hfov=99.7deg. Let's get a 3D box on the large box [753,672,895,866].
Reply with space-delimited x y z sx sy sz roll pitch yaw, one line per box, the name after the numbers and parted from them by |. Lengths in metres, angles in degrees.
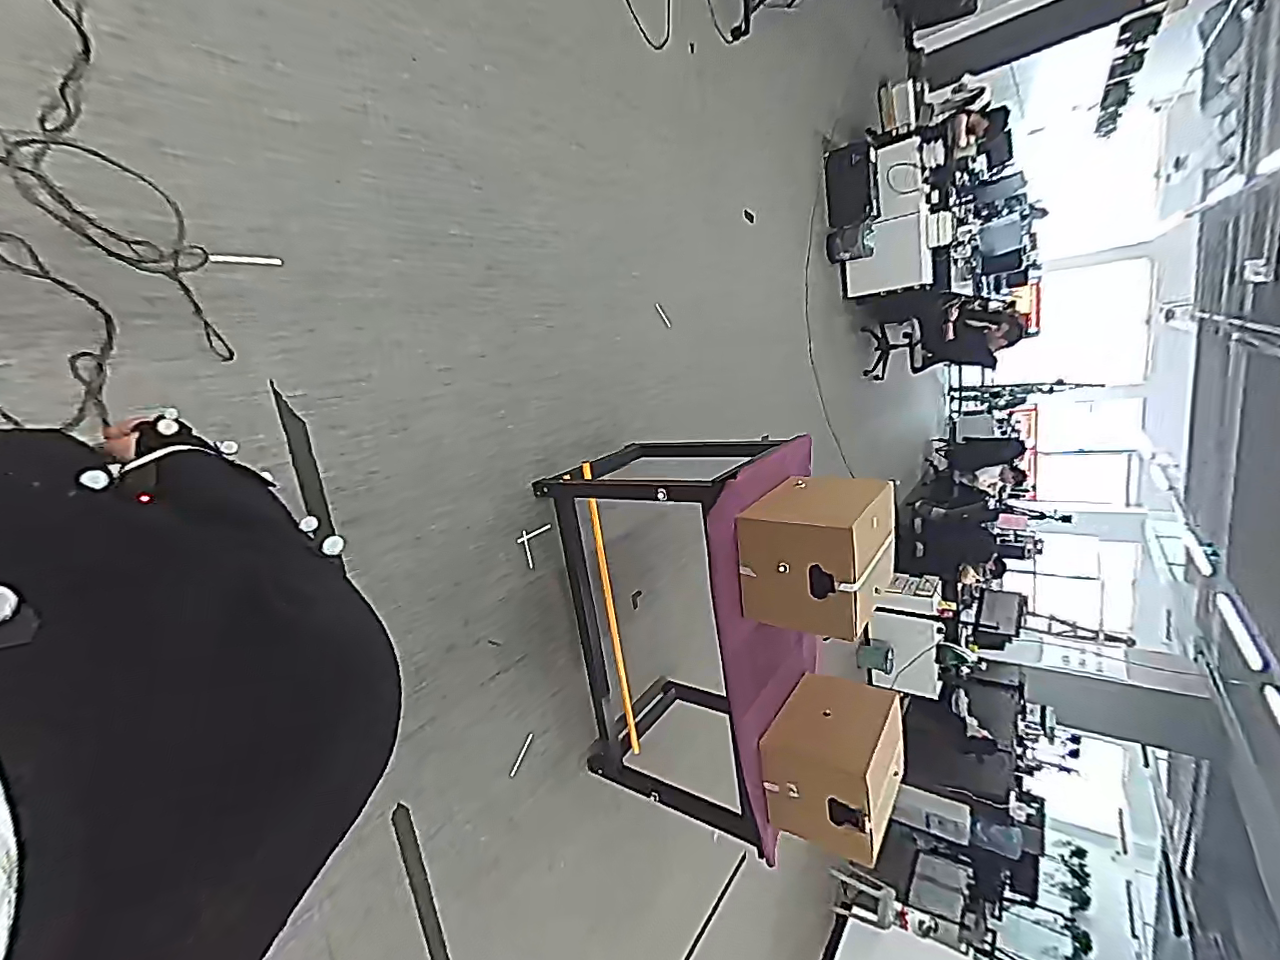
0.590 0.873 1.702 0.408 0.320 0.320 -25 112 -51 | large box
